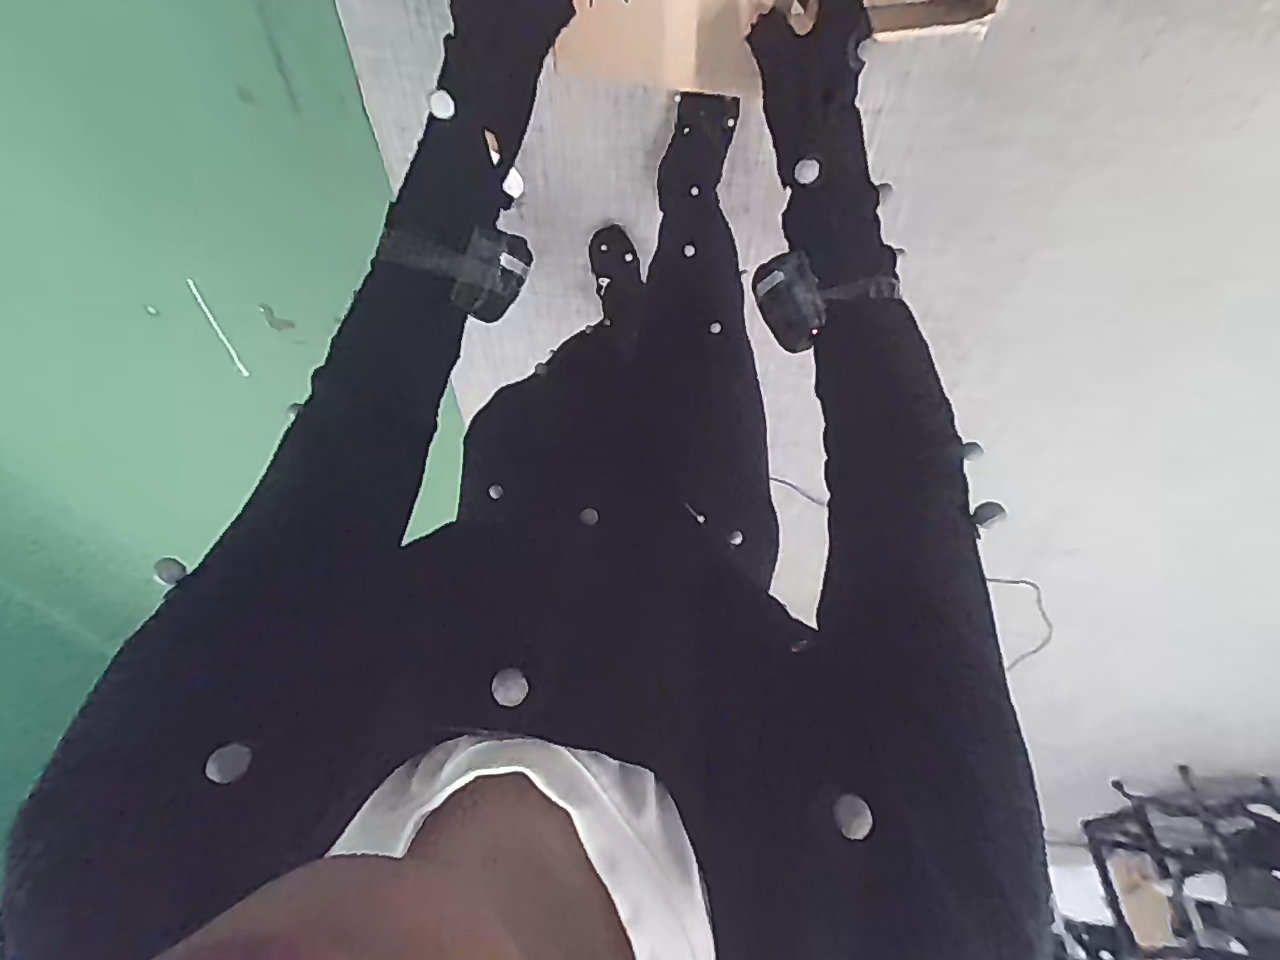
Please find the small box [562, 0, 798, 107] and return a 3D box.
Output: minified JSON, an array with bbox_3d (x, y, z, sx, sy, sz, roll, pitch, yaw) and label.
[{"bbox_3d":[0.036,-0.426,0.430,0.179,0.176,0.168,5,140,-1],"label":"small box"}]
